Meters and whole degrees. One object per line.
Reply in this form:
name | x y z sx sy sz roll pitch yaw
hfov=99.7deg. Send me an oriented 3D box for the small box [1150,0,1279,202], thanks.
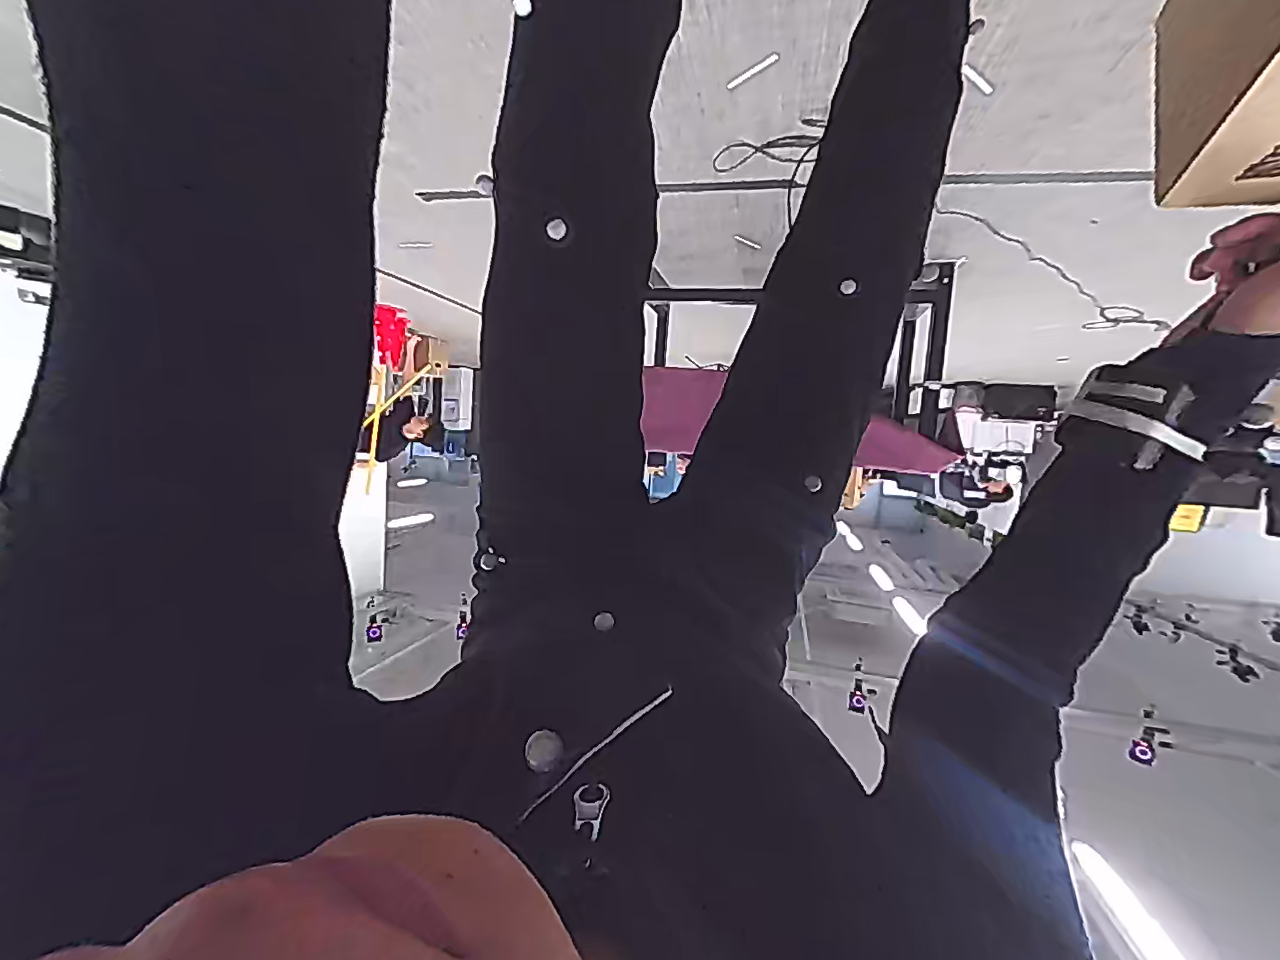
small box | 0.399 -0.267 0.260 0.168 0.176 0.179 9 164 19
